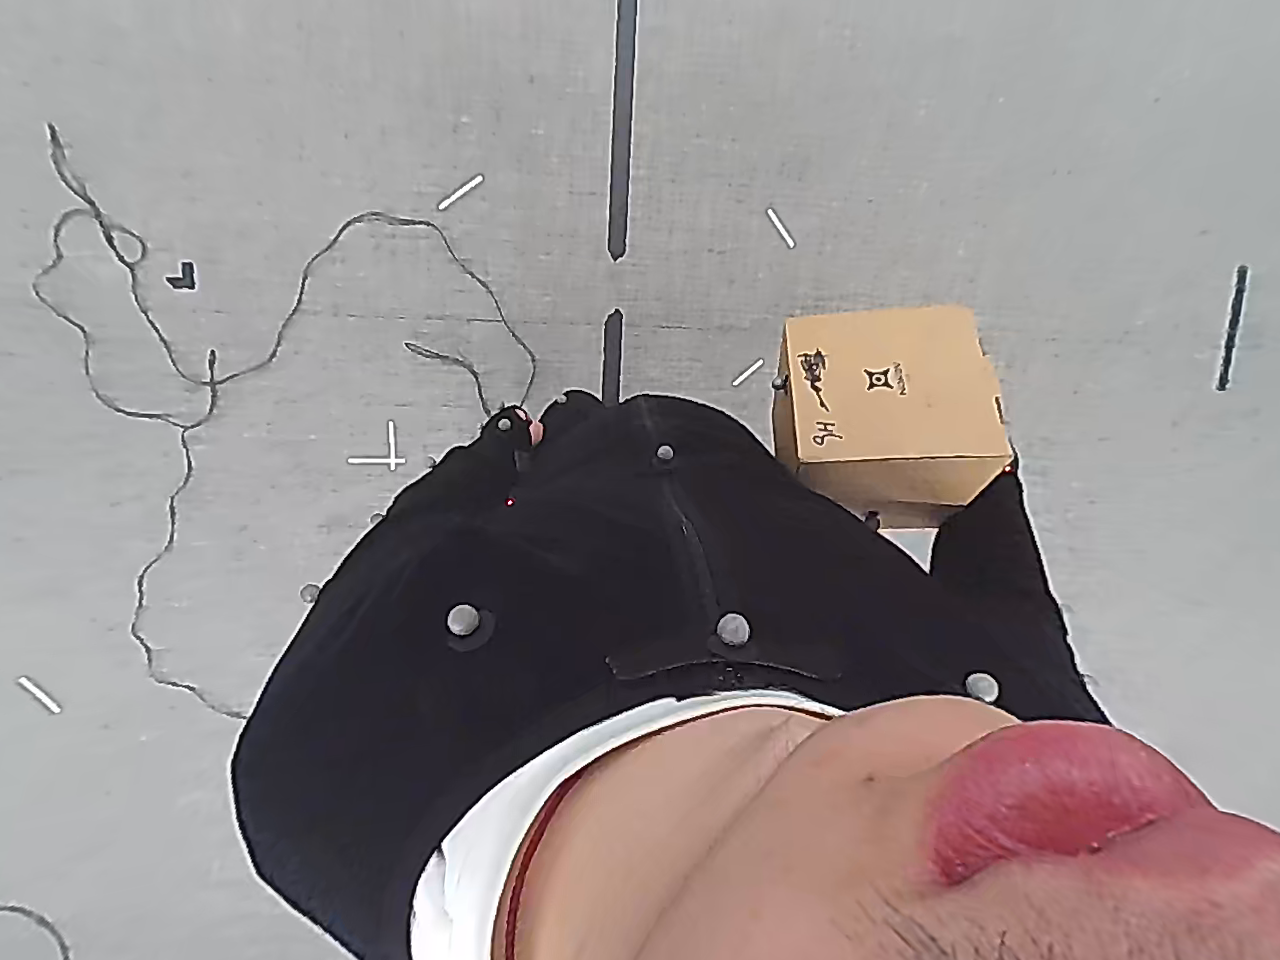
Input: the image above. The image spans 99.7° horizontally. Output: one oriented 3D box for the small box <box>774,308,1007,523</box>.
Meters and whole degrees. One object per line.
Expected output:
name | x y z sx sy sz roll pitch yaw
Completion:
small box | 0.245 -0.060 0.580 0.179 0.176 0.168 -1 63 8
